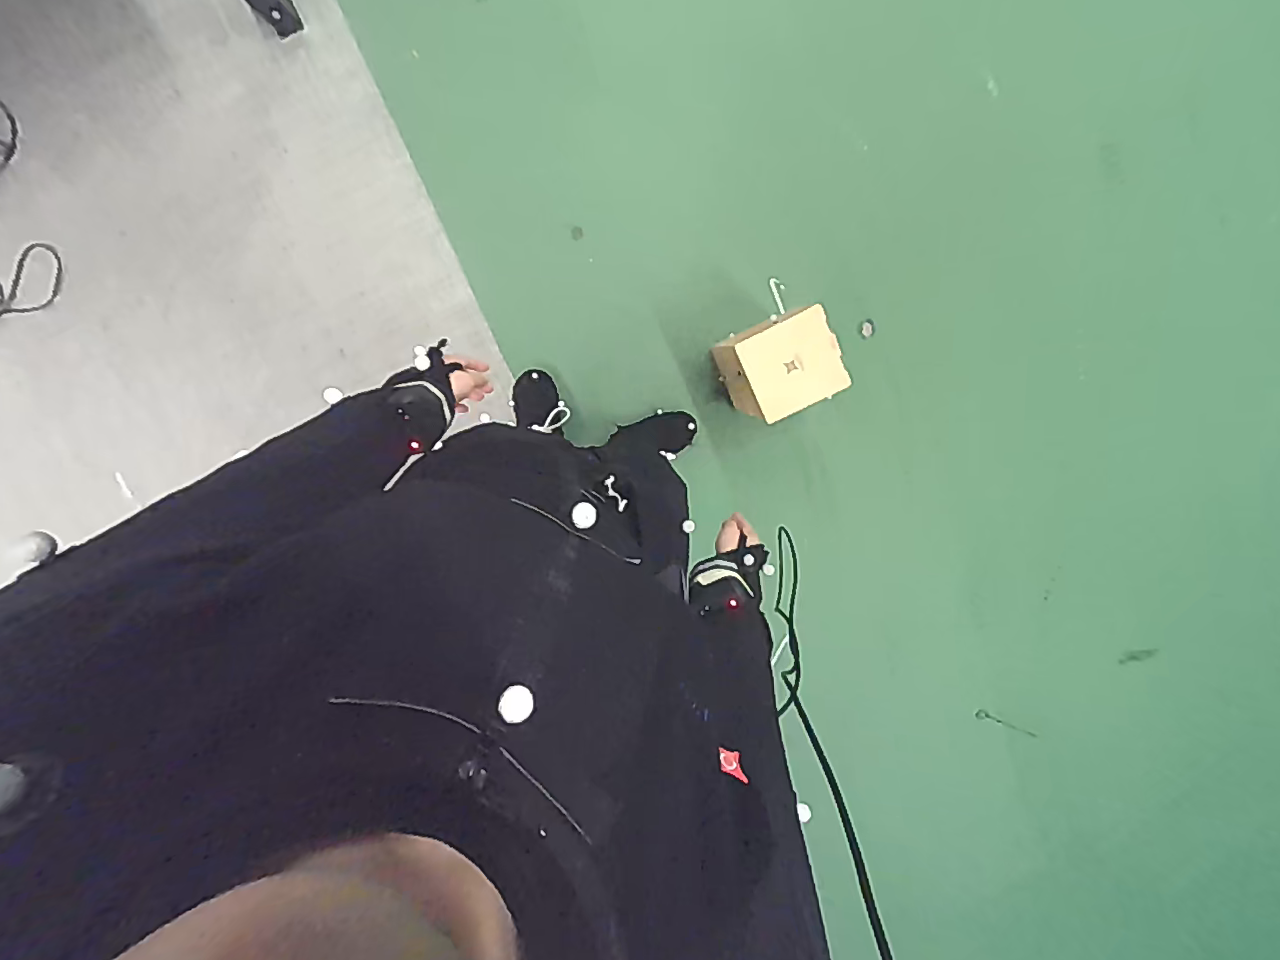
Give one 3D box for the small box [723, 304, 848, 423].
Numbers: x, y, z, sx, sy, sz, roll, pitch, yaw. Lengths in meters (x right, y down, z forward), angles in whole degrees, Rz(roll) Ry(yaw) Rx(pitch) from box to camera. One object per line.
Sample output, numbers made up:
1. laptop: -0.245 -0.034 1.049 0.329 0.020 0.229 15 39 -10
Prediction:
1. small box: 0.277 -0.231 1.080 0.179 0.176 0.168 -26 103 3
